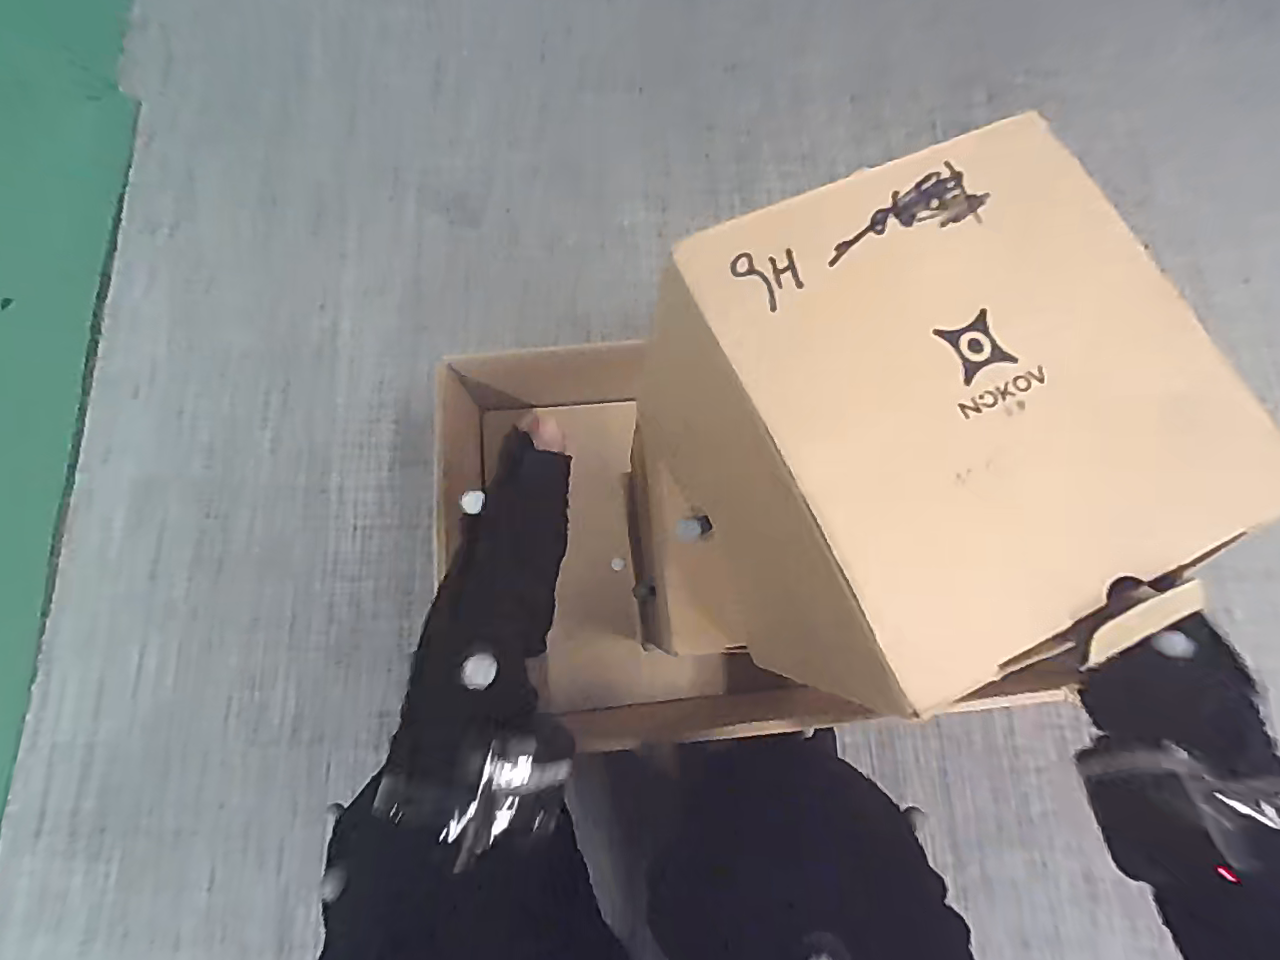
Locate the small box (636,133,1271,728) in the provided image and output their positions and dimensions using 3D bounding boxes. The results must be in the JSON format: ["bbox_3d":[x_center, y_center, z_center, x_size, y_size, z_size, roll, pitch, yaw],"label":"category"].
[{"bbox_3d":[0.107,-0.014,0.268,0.168,0.176,0.179,-23,80,-8],"label":"small box"}]
